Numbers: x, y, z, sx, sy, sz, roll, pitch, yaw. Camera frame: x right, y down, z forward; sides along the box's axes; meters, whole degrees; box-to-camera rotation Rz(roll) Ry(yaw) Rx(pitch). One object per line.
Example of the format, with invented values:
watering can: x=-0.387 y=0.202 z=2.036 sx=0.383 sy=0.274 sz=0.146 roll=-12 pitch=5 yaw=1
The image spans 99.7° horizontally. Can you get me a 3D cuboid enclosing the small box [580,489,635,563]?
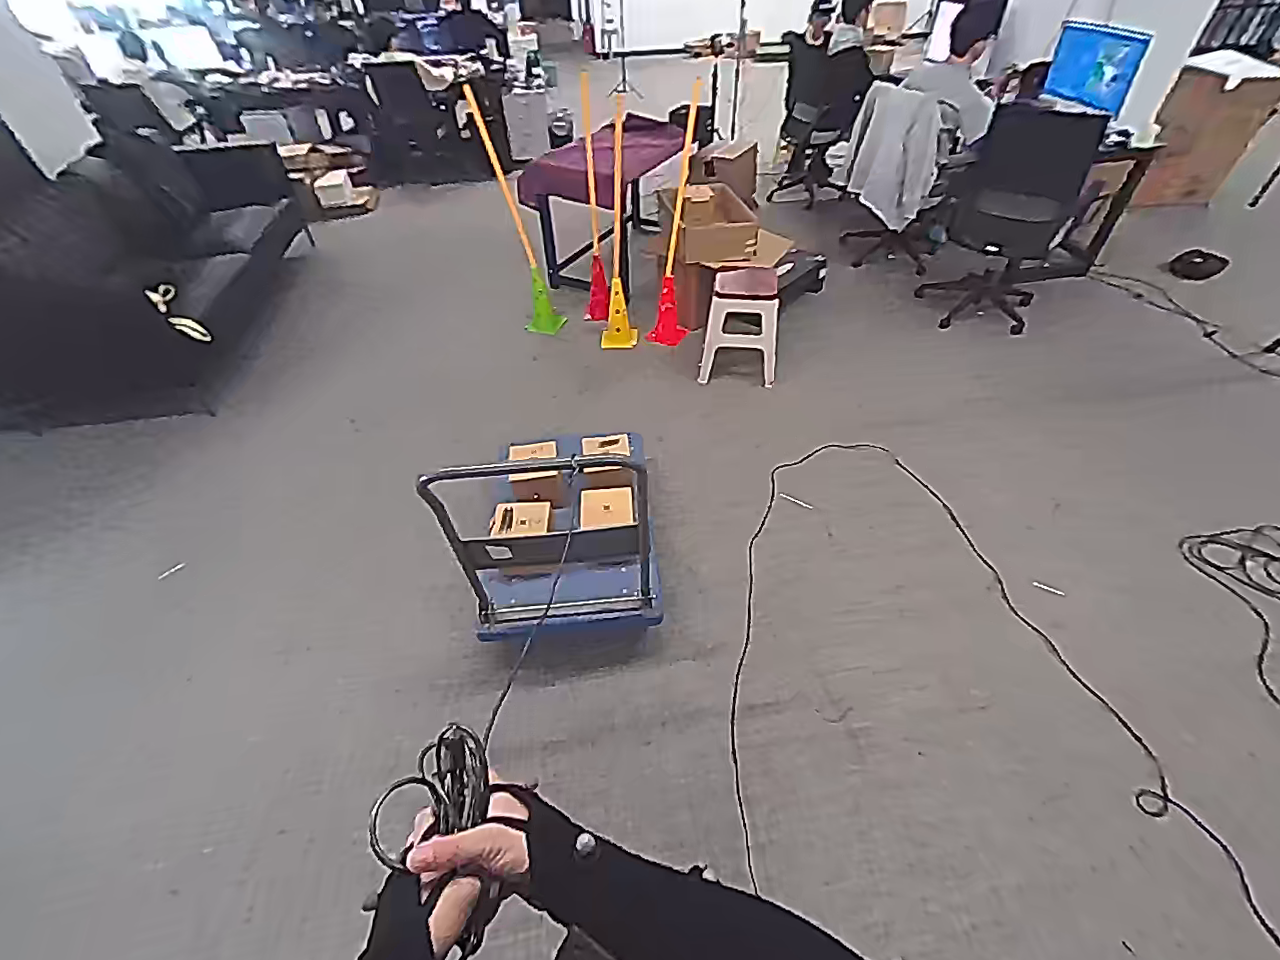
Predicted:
small box: x=-0.104 y=0.151 z=1.767 sx=0.168 sy=0.176 sz=0.179 roll=-4 pitch=47 yaw=-1

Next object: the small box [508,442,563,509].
small box: x=-0.370 y=-0.010 z=1.935 sx=0.168 sy=0.176 sz=0.179 roll=-7 pitch=46 yaw=-5

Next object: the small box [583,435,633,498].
small box: x=-0.115 y=-0.037 z=1.947 sx=0.168 sy=0.176 sz=0.179 roll=-6 pitch=46 yaw=-2
